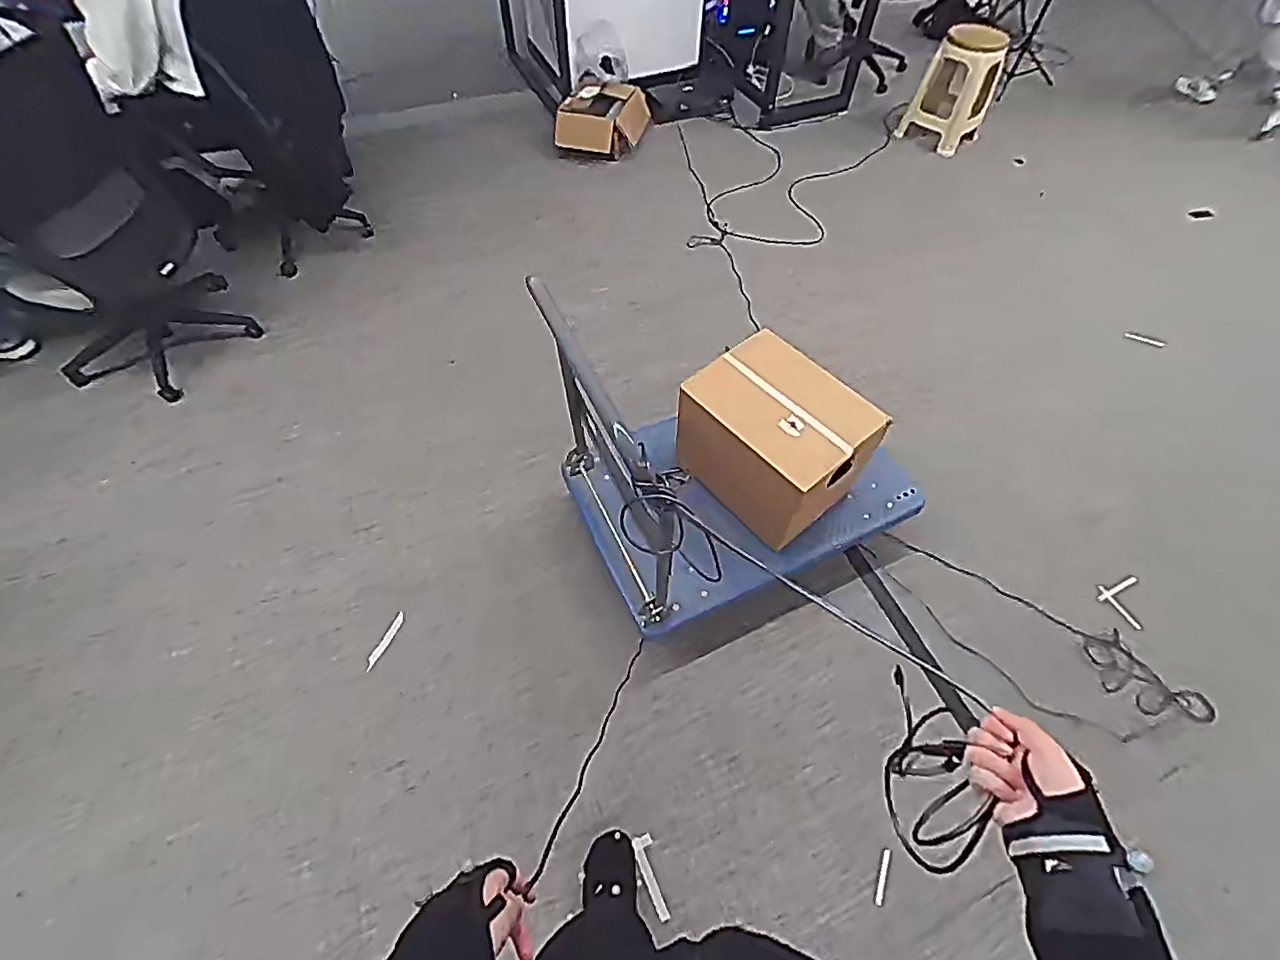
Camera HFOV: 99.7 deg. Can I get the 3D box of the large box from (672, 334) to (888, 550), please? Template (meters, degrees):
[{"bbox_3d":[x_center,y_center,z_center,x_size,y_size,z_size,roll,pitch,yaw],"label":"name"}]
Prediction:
[{"bbox_3d":[0.333,-0.099,1.408,0.320,0.320,0.408,-36,65,-19],"label":"large box"}]
